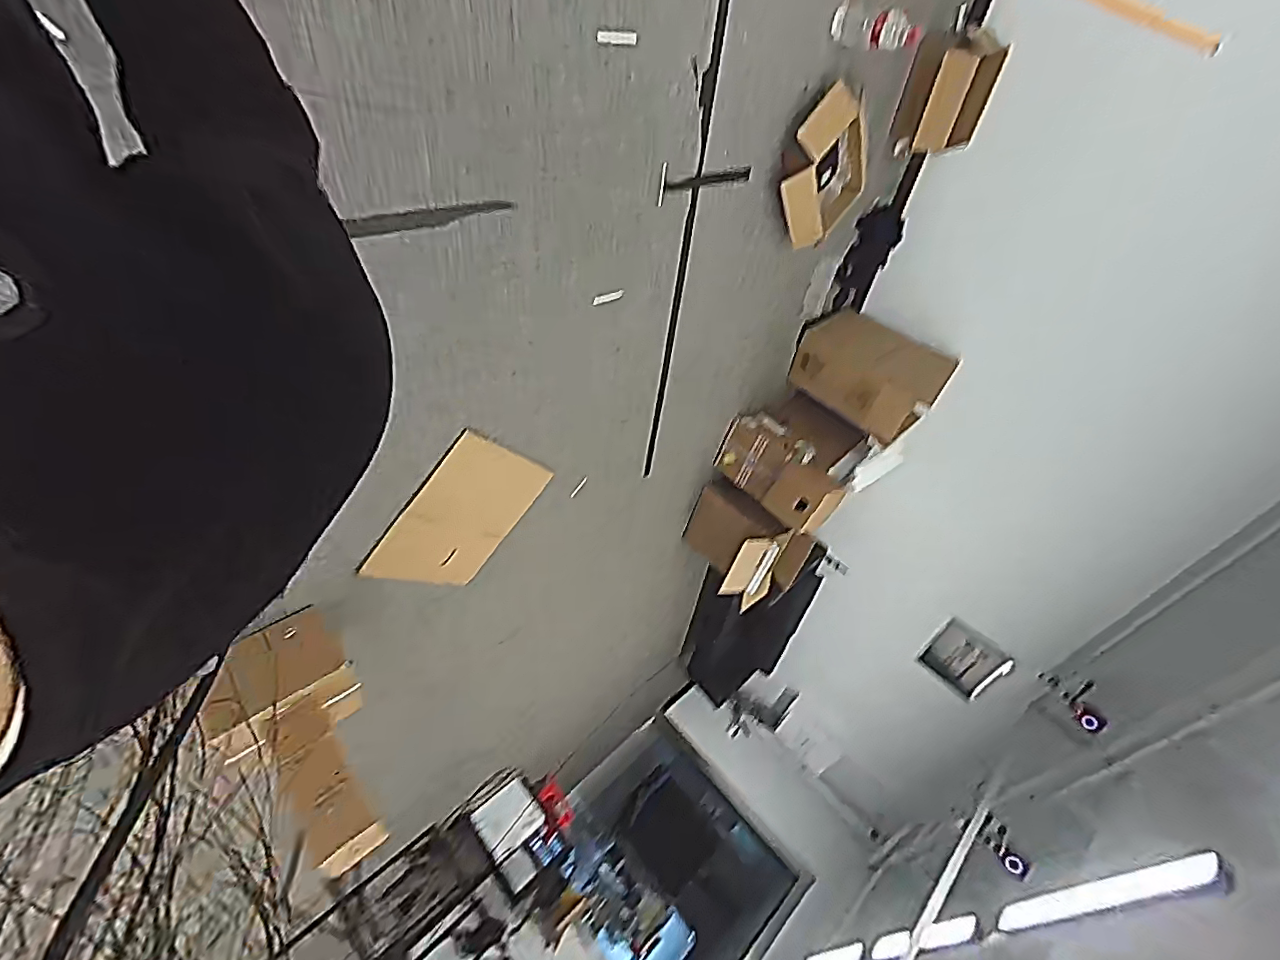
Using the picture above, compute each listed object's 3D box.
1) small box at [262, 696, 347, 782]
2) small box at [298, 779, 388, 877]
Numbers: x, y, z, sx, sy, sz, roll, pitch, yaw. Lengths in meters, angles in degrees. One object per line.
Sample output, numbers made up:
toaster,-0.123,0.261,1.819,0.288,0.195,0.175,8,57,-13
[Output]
small box,-1.106,0.846,1.782,0.168,0.176,0.179,-31,148,-30
small box,-0.890,1.039,1.624,0.168,0.176,0.179,-31,146,-33
